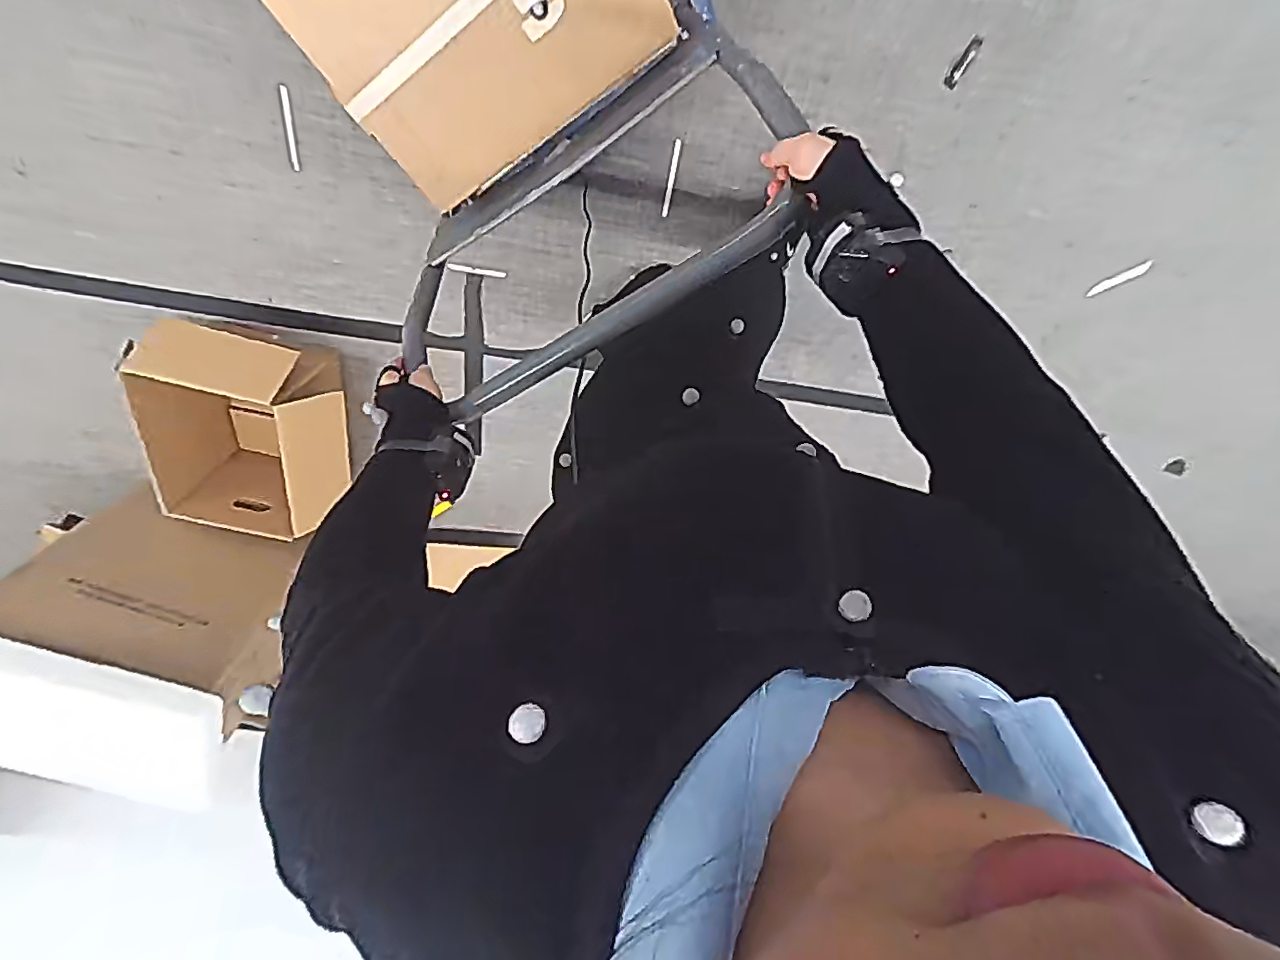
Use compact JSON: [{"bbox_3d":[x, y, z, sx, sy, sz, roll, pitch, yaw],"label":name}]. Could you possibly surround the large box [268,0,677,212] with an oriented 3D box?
[{"bbox_3d":[-0.210,-0.672,0.754,0.408,0.320,0.320,-27,132,19],"label":"large box"}]
